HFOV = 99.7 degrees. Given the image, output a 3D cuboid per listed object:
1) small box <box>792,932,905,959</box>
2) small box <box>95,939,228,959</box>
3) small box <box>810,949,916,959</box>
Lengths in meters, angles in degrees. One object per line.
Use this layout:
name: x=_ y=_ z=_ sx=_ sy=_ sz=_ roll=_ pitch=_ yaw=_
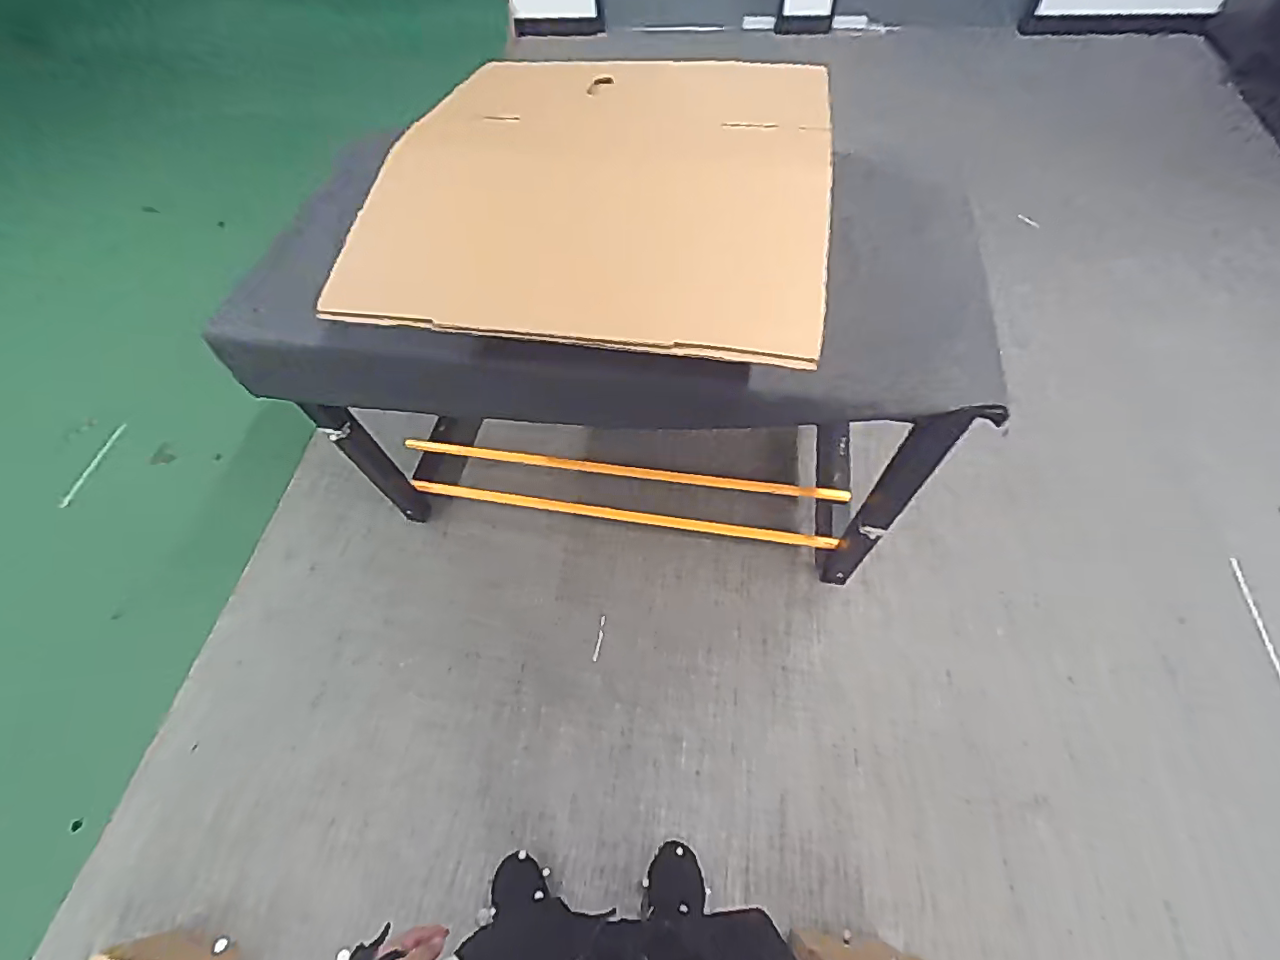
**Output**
small box: x=0.358 y=0.889 z=0.908 sx=0.168 sy=0.176 sz=0.179 roll=1 pitch=59 yaw=4
small box: x=-0.872 y=0.946 z=0.949 sx=0.168 sy=0.176 sz=0.179 roll=8 pitch=61 yaw=9
small box: x=0.356 y=0.797 z=0.772 sx=0.179 sy=0.176 sz=0.168 roll=1 pitch=58 yaw=4
